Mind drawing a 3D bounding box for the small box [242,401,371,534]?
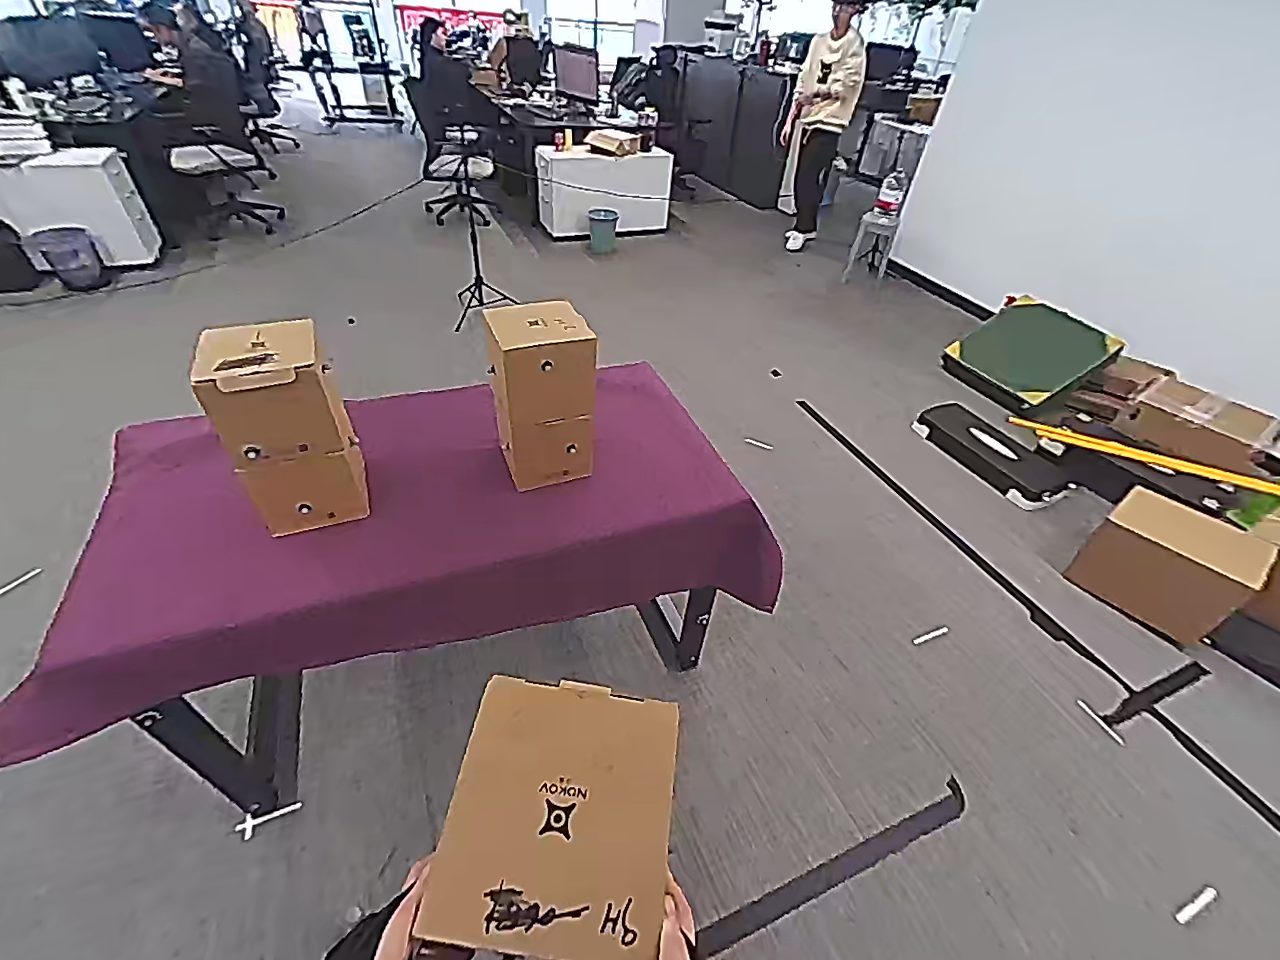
[{"bbox_3d":[-0.625,-0.026,1.031,0.168,0.176,0.179,-13,46,-20],"label":"small box"}]

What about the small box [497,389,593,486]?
[{"bbox_3d":[-0.203,-0.103,1.163,0.168,0.176,0.179,-12,44,-20],"label":"small box"}]

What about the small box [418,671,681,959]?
[{"bbox_3d":[-0.063,0.293,0.470,0.168,0.176,0.179,8,50,3],"label":"small box"}]

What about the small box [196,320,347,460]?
[{"bbox_3d":[-0.614,-0.149,0.923,0.168,0.176,0.179,-14,45,-21],"label":"small box"}]

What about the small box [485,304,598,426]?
[{"bbox_3d":[-0.190,-0.223,1.052,0.179,0.176,0.168,-13,46,-21],"label":"small box"}]
